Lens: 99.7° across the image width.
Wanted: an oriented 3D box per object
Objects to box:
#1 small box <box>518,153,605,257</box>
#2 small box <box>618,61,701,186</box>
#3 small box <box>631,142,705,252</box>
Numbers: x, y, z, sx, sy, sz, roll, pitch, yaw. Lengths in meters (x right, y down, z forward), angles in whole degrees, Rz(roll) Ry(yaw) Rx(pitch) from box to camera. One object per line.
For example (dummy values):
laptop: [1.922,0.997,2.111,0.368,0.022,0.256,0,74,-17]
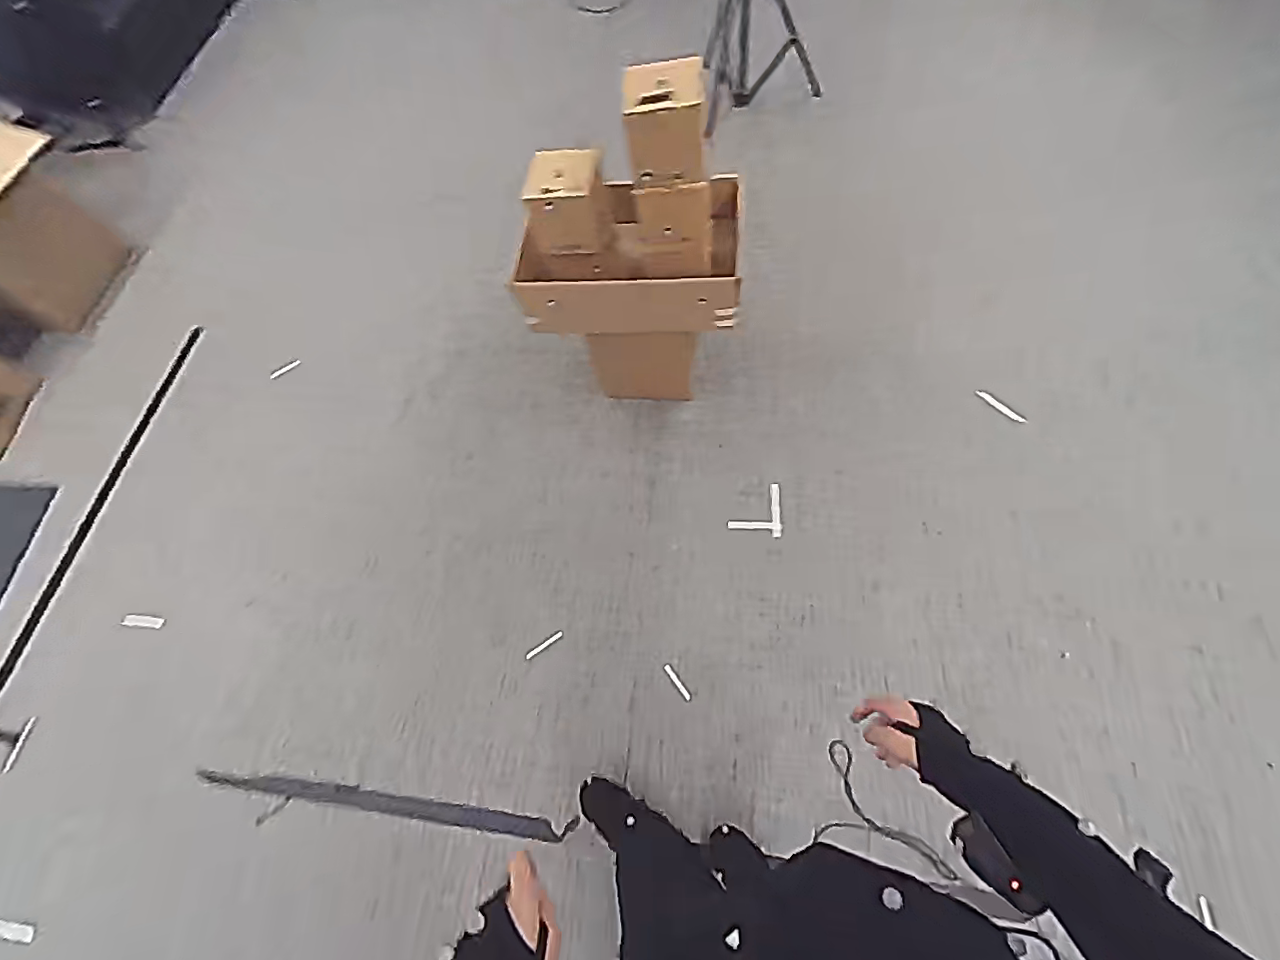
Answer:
small box: [-0.190,-0.698,1.380,0.168,0.176,0.179,1,63,11]
small box: [0.046,-0.779,1.200,0.168,0.176,0.179,-4,63,7]
small box: [0.075,-0.697,1.340,0.168,0.176,0.179,-1,65,8]
